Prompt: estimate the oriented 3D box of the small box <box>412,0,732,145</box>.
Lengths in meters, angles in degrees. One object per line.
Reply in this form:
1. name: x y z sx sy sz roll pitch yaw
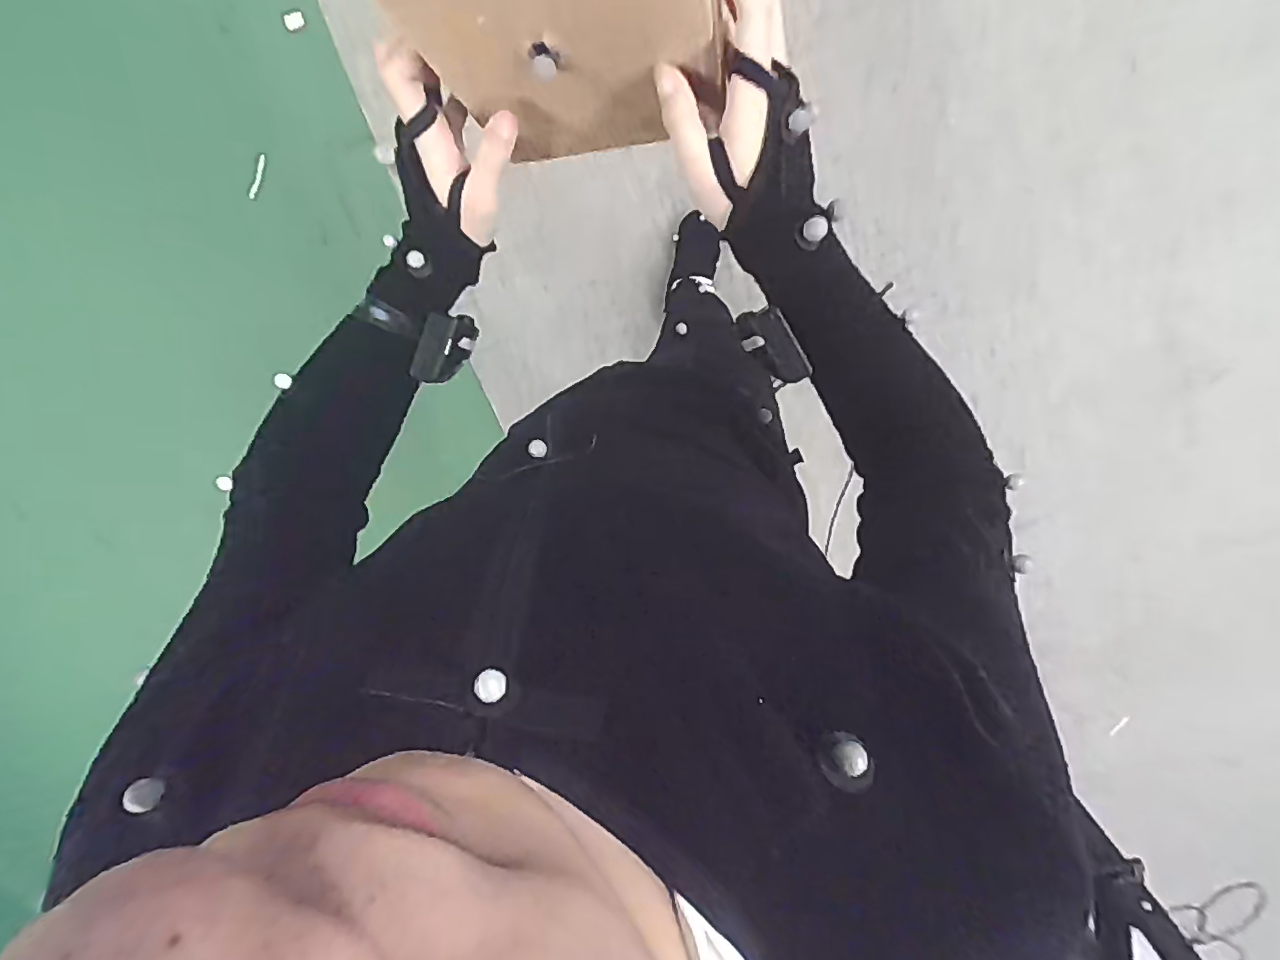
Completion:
1. small box: -0.038 -0.348 0.344 0.179 0.176 0.168 0 90 15
